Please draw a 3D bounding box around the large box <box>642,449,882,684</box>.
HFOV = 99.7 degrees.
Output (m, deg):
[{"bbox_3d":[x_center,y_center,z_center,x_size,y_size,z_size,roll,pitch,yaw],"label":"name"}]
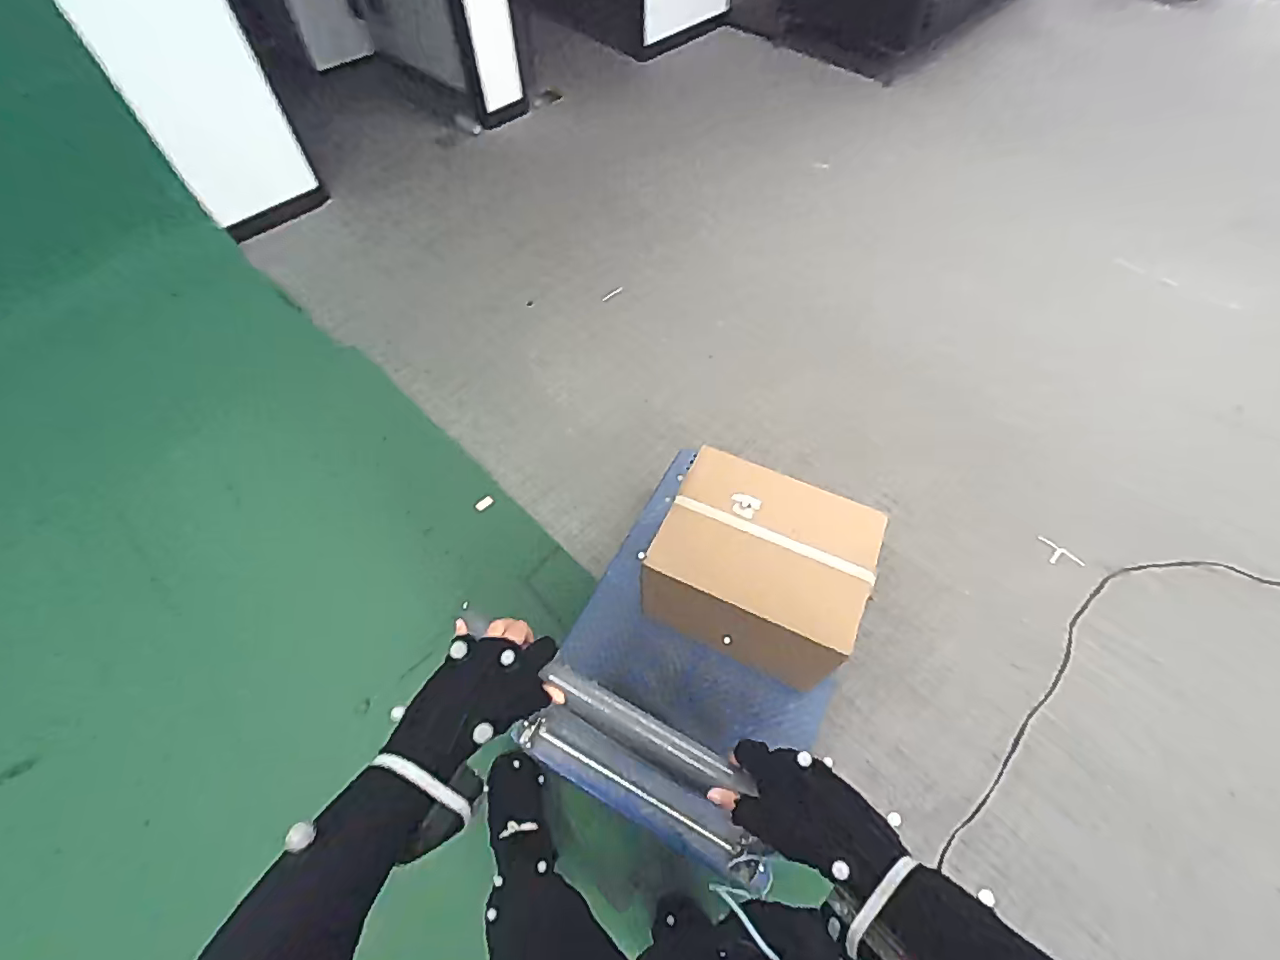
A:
[{"bbox_3d":[0.251,0.194,1.188,0.408,0.320,0.320,22,59,15],"label":"large box"}]
